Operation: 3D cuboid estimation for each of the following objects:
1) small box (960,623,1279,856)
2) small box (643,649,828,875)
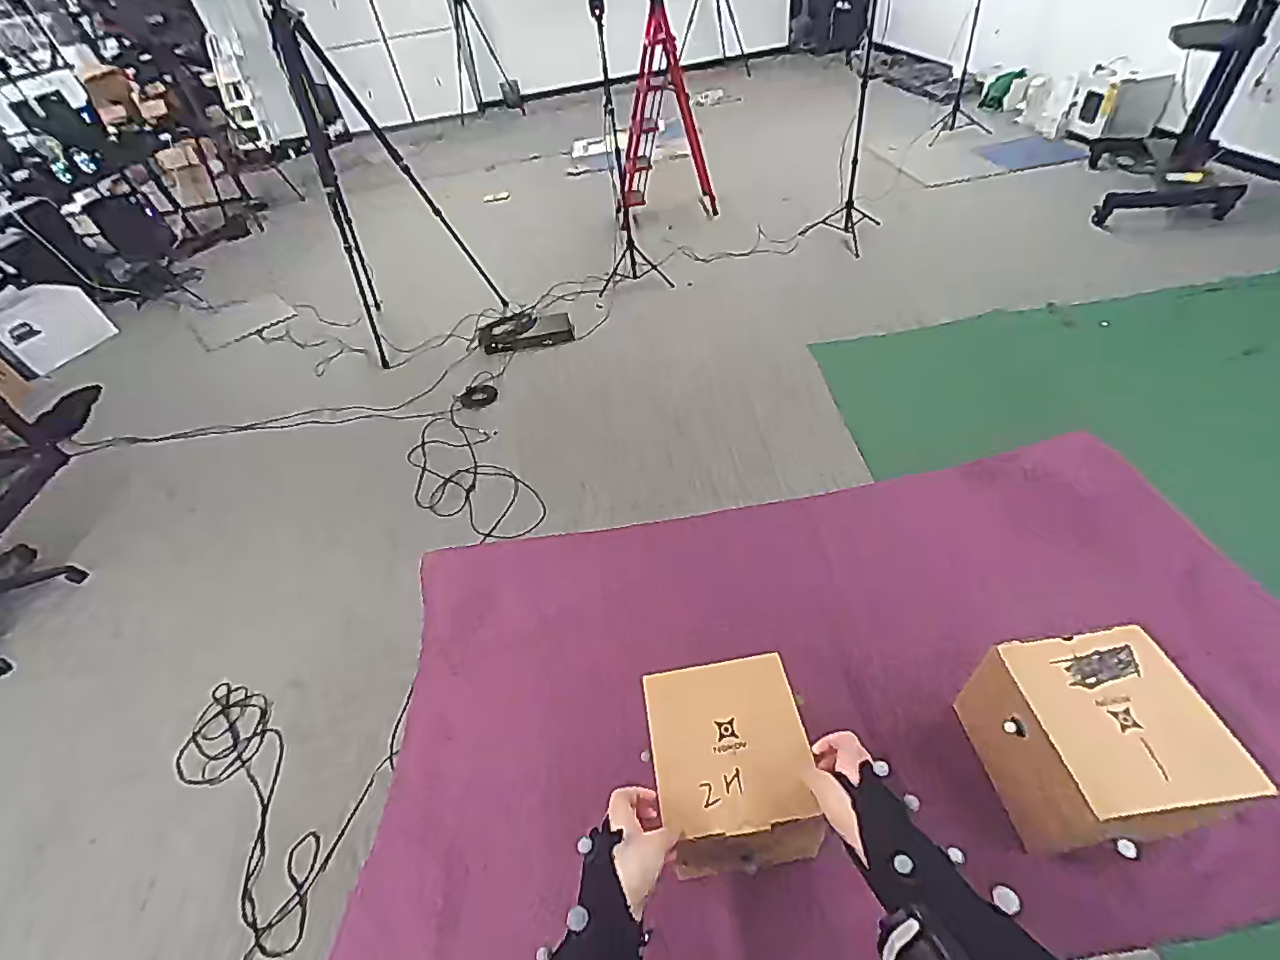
[{"bbox_3d":[0.492,0.286,0.598,0.168,0.176,0.179,-9,45,2],"label":"small box"},{"bbox_3d":[0.100,0.327,0.628,0.168,0.176,0.179,-10,43,1],"label":"small box"}]
